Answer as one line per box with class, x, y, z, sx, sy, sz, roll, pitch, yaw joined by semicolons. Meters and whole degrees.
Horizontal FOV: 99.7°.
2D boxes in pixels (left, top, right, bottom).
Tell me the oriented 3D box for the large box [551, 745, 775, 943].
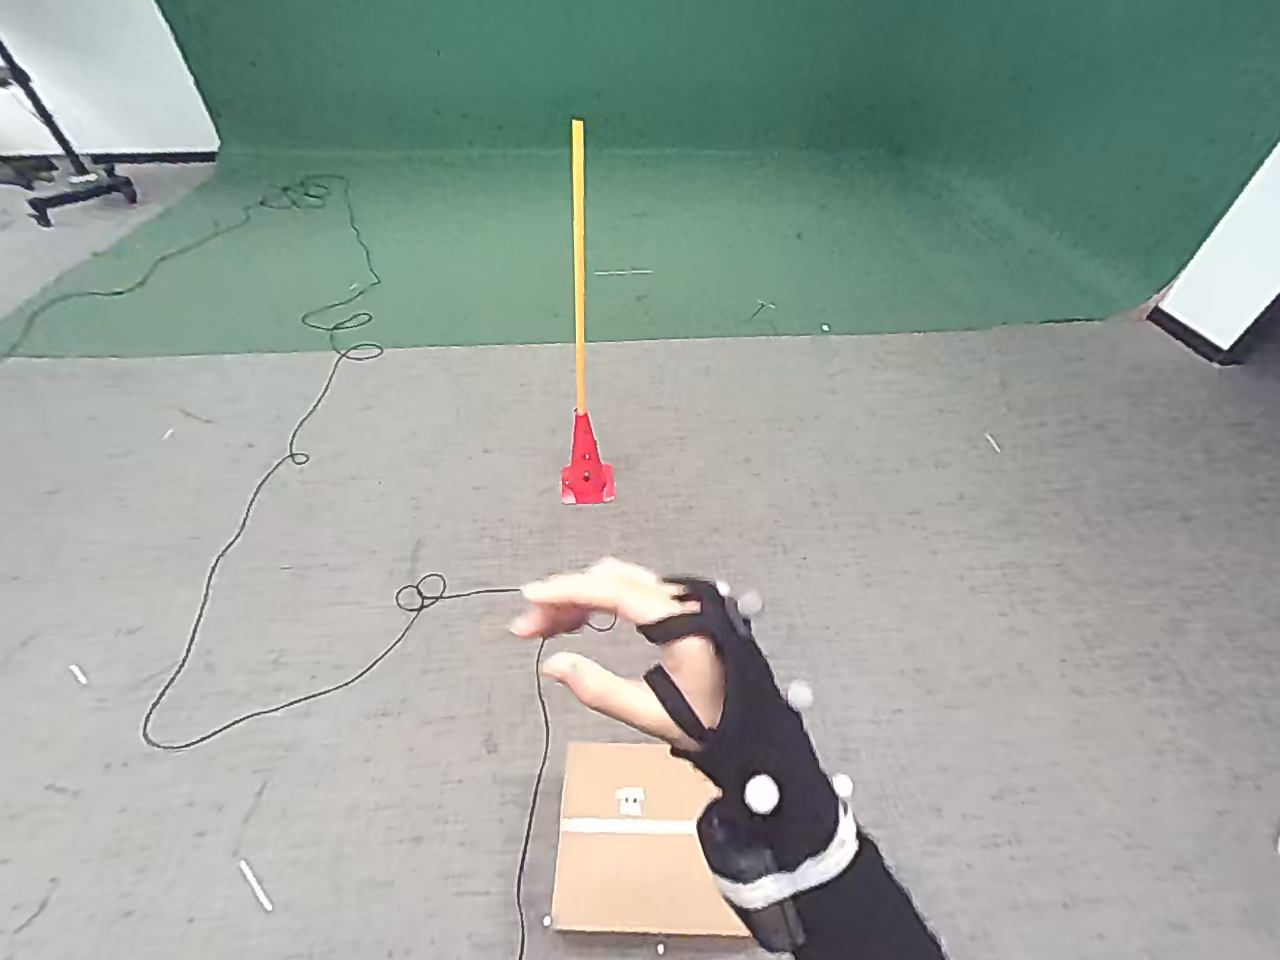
large box;0.044;0.783;1.159;0.408;0.320;0.320;1;45;1
